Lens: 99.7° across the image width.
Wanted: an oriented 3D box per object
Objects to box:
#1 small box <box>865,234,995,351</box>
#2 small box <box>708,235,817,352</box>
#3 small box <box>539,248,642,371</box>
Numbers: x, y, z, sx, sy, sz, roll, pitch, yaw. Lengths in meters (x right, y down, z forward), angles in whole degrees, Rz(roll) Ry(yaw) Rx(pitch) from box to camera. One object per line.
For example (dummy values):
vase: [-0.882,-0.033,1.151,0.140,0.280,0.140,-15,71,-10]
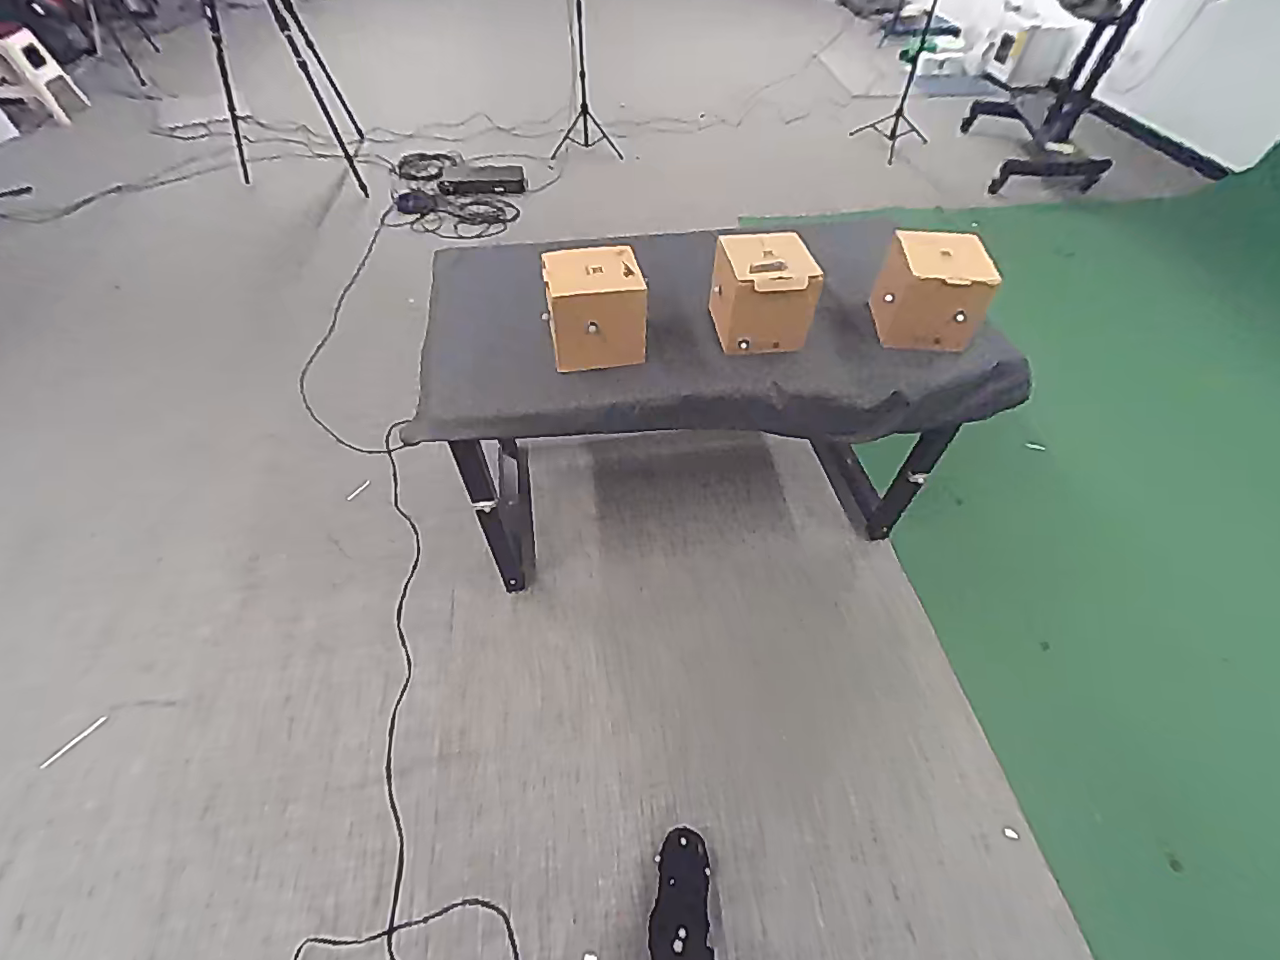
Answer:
small box: [0.588,-0.386,1.124,0.168,0.176,0.179,4,50,2]
small box: [0.241,-0.377,1.110,0.168,0.176,0.179,-5,51,-5]
small box: [-0.094,-0.331,1.065,0.179,0.176,0.168,-9,51,-8]
